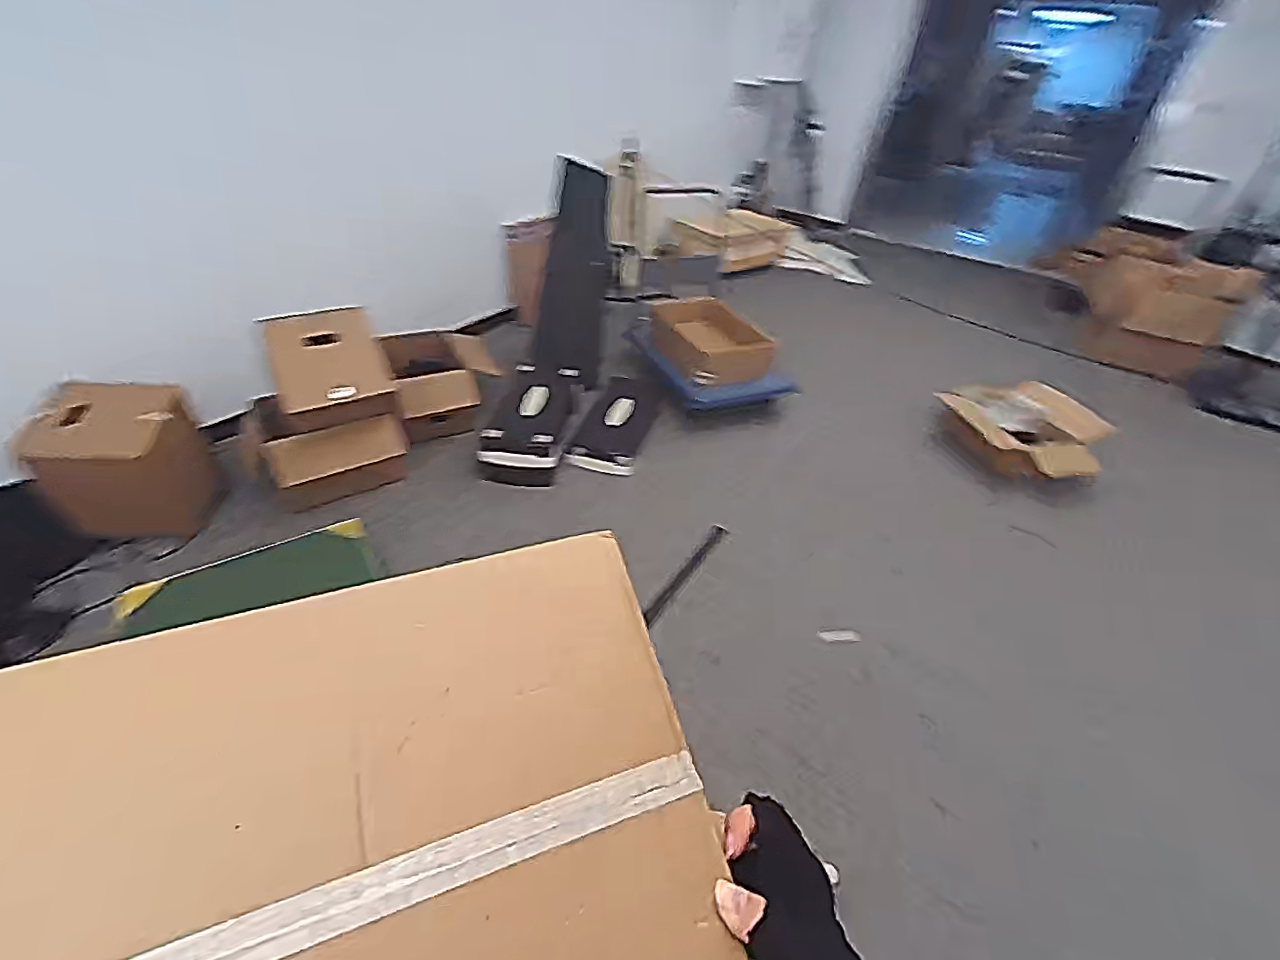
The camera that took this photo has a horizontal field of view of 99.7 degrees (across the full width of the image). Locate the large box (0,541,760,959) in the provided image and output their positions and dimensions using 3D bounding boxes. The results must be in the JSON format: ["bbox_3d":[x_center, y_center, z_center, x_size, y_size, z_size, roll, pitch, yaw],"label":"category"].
[{"bbox_3d":[-0.175,0.285,0.376,0.408,0.320,0.320,-11,61,-16],"label":"large box"}]
